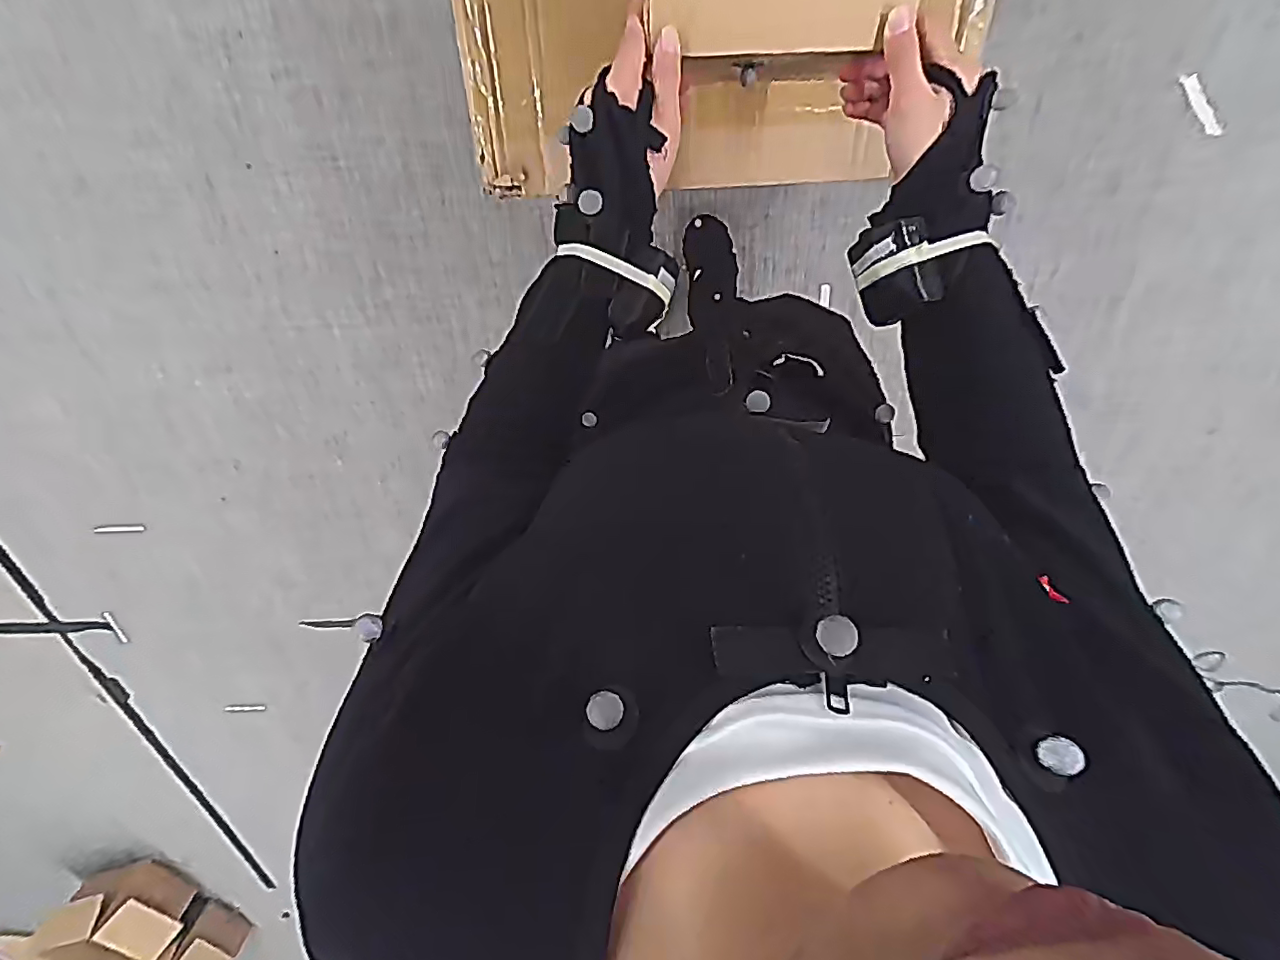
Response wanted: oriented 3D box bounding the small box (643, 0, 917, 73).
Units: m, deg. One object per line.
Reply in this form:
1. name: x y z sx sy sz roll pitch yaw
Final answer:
1. small box: 0.089 -0.401 0.382 0.179 0.176 0.168 -2 121 1
